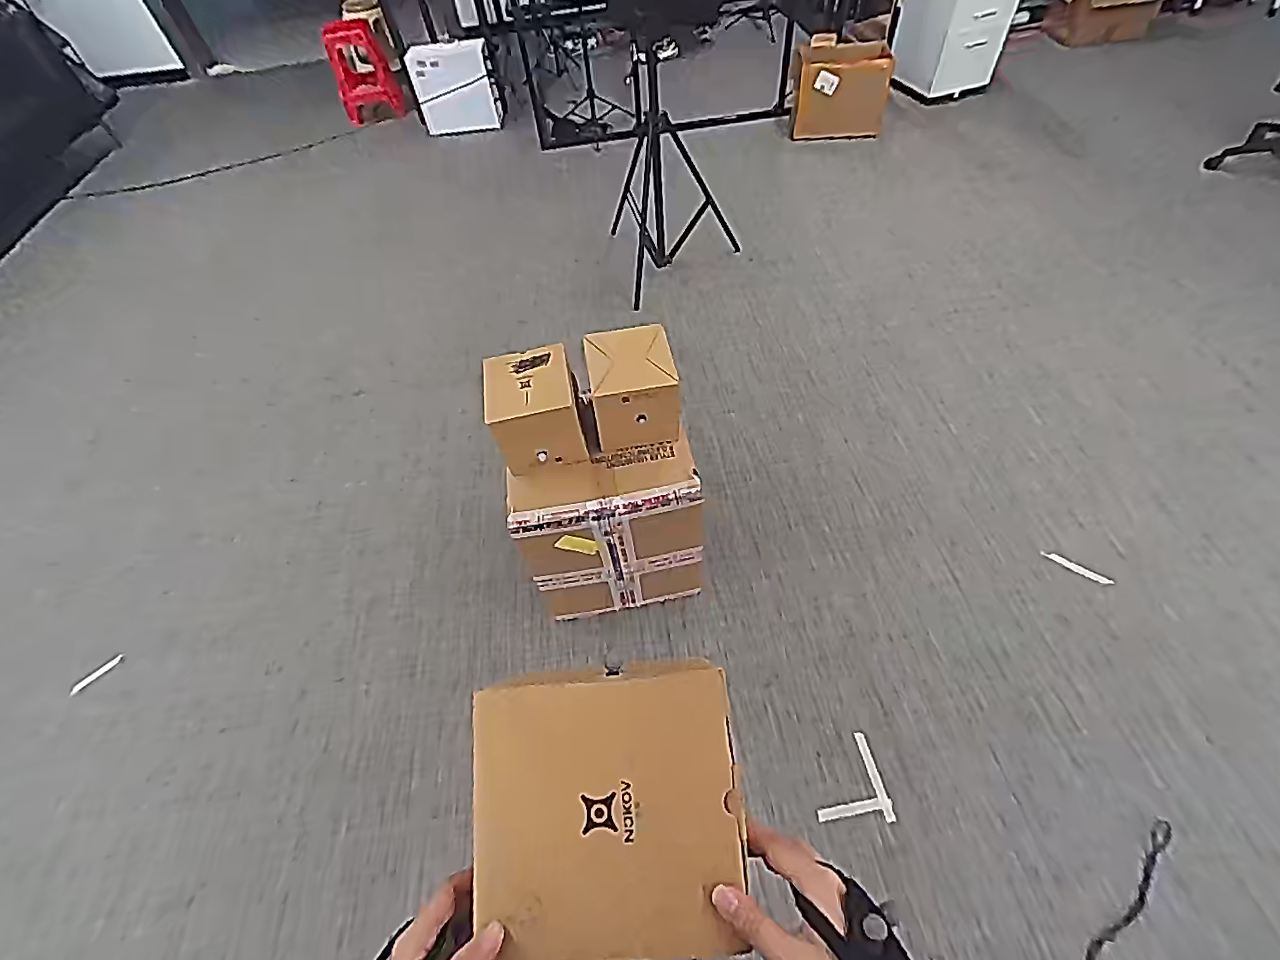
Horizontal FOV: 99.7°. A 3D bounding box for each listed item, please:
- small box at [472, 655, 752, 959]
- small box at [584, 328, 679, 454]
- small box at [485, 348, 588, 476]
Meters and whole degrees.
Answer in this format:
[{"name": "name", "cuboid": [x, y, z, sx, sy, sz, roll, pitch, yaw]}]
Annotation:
[{"name": "small box", "cuboid": [-0.021, 0.233, 0.430, 0.179, 0.176, 0.168, -5, 74, -1]}, {"name": "small box", "cuboid": [-0.018, -0.182, 1.109, 0.168, 0.176, 0.179, -9, 55, -4]}, {"name": "small box", "cuboid": [-0.208, -0.135, 1.097, 0.168, 0.176, 0.179, -12, 55, 0]}]
